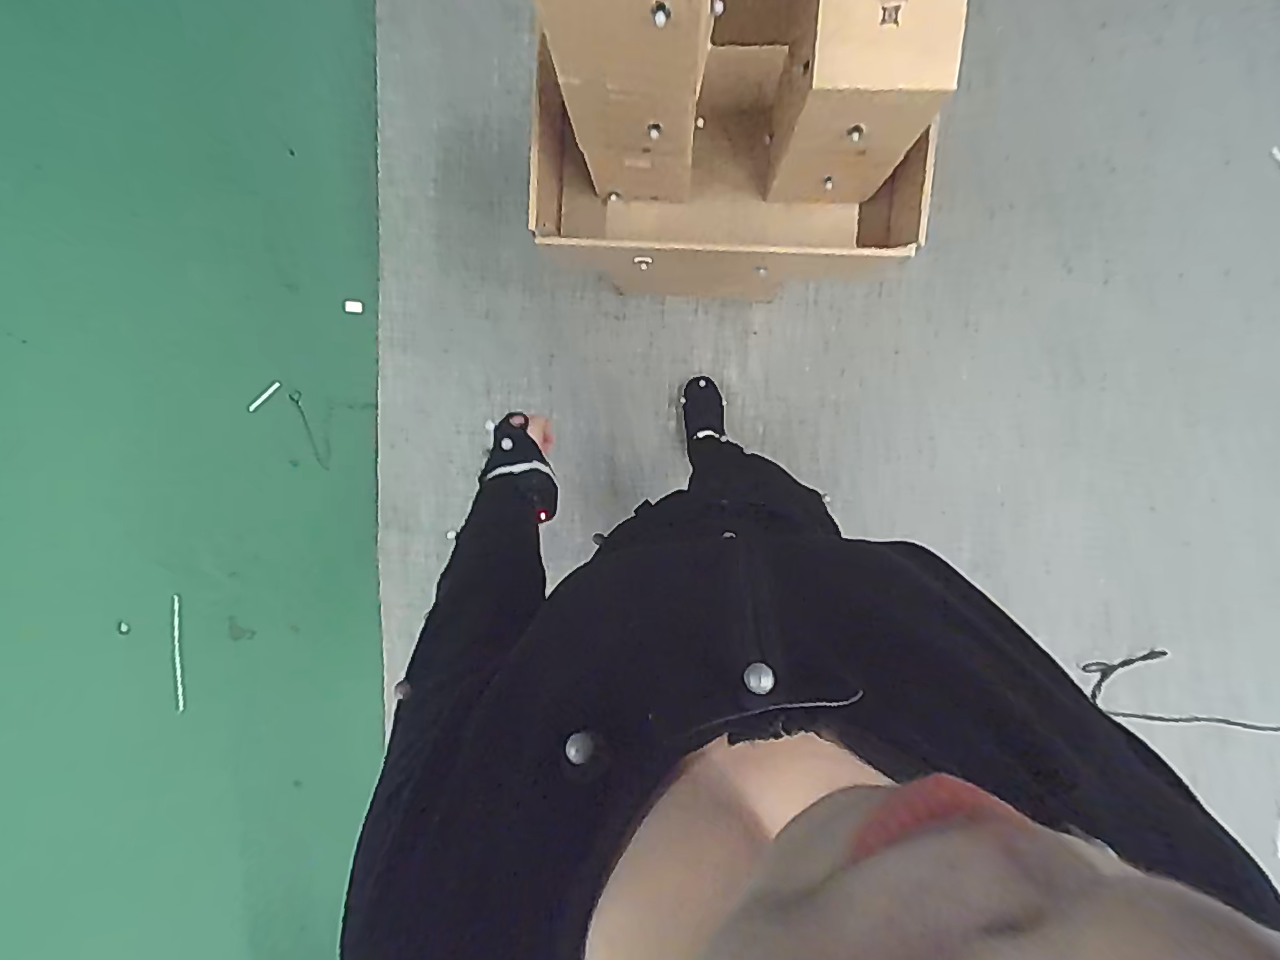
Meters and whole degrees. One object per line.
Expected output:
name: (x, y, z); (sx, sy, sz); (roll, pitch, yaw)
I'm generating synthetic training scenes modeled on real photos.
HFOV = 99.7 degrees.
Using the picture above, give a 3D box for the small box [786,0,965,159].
small box: (0.290, -0.542, 0.695); (0.168, 0.176, 0.179); (5, 96, 4)

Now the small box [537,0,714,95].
small box: (-0.010, -0.541, 0.558); (0.179, 0.176, 0.168); (12, 96, 1)

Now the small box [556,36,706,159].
small box: (-0.003, -0.561, 0.719); (0.168, 0.176, 0.179); (9, 95, 2)
